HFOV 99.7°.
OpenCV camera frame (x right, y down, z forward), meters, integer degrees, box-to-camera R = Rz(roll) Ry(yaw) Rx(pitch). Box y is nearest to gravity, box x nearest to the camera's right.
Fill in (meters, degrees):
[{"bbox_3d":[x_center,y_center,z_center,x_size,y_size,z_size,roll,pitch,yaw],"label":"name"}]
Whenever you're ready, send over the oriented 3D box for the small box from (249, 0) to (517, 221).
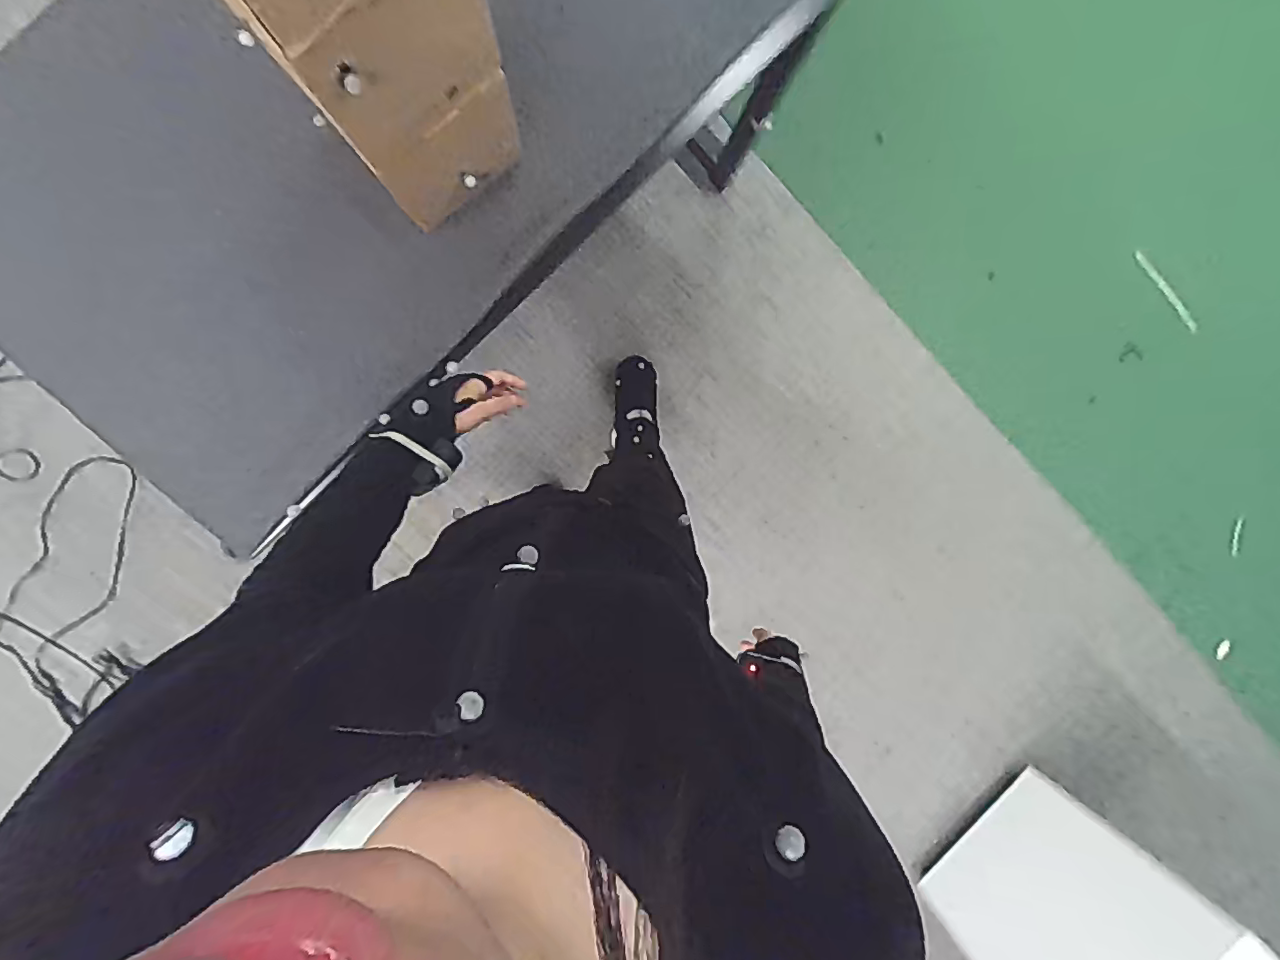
[{"bbox_3d":[-0.259,-0.429,0.595,0.168,0.176,0.179,-39,98,-1],"label":"small box"}]
